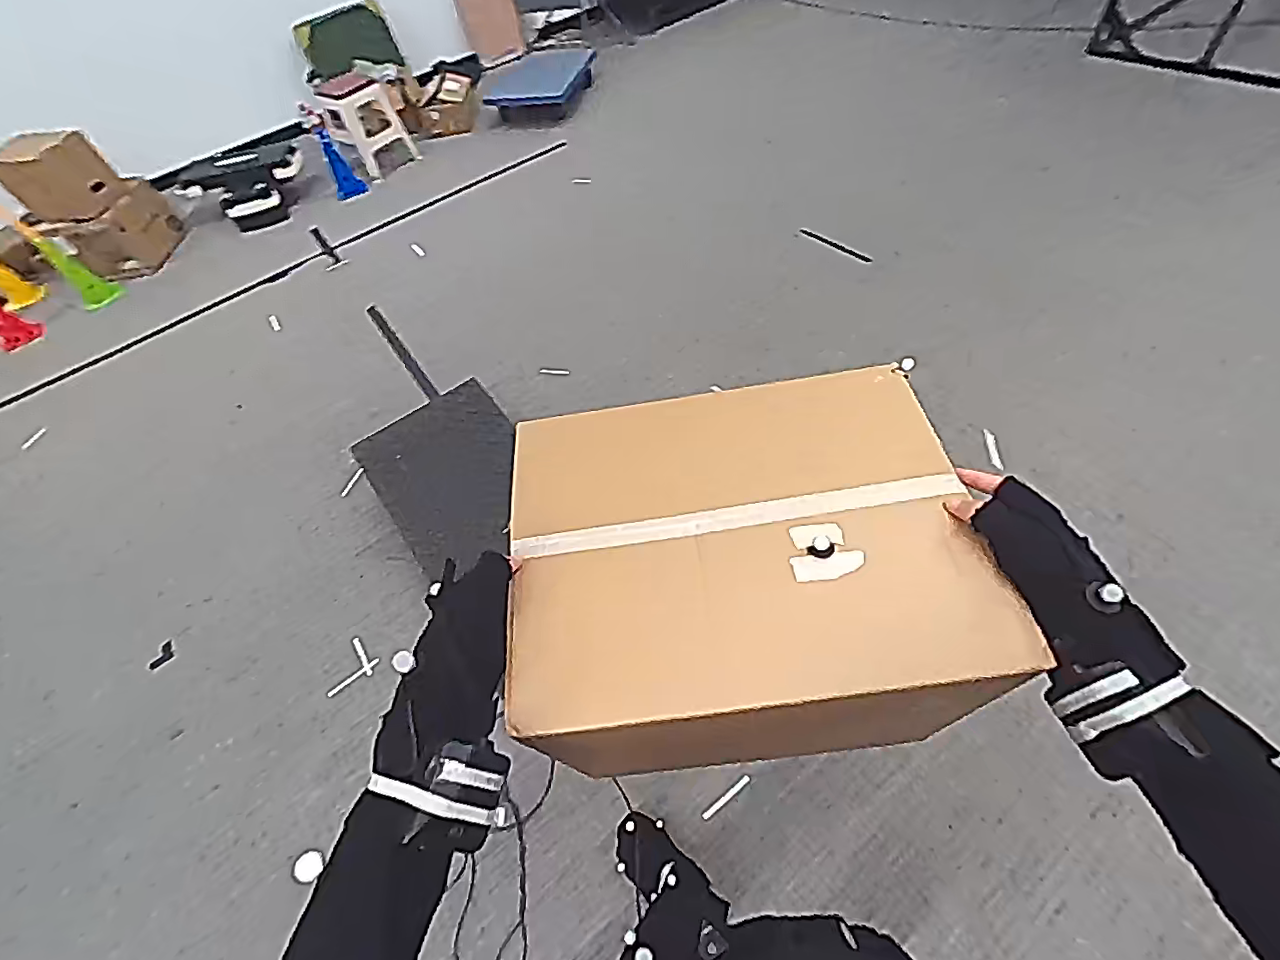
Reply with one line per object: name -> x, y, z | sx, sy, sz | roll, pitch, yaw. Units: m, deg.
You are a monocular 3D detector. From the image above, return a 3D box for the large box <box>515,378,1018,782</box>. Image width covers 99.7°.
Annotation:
large box -> 0.095, 0.130, 0.623 | 0.408, 0.320, 0.320 | -9, 55, 2

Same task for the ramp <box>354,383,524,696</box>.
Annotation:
ramp -> -0.481, 0.119, 1.724 | 0.509, 0.206, 0.991 | -36, 57, -18
